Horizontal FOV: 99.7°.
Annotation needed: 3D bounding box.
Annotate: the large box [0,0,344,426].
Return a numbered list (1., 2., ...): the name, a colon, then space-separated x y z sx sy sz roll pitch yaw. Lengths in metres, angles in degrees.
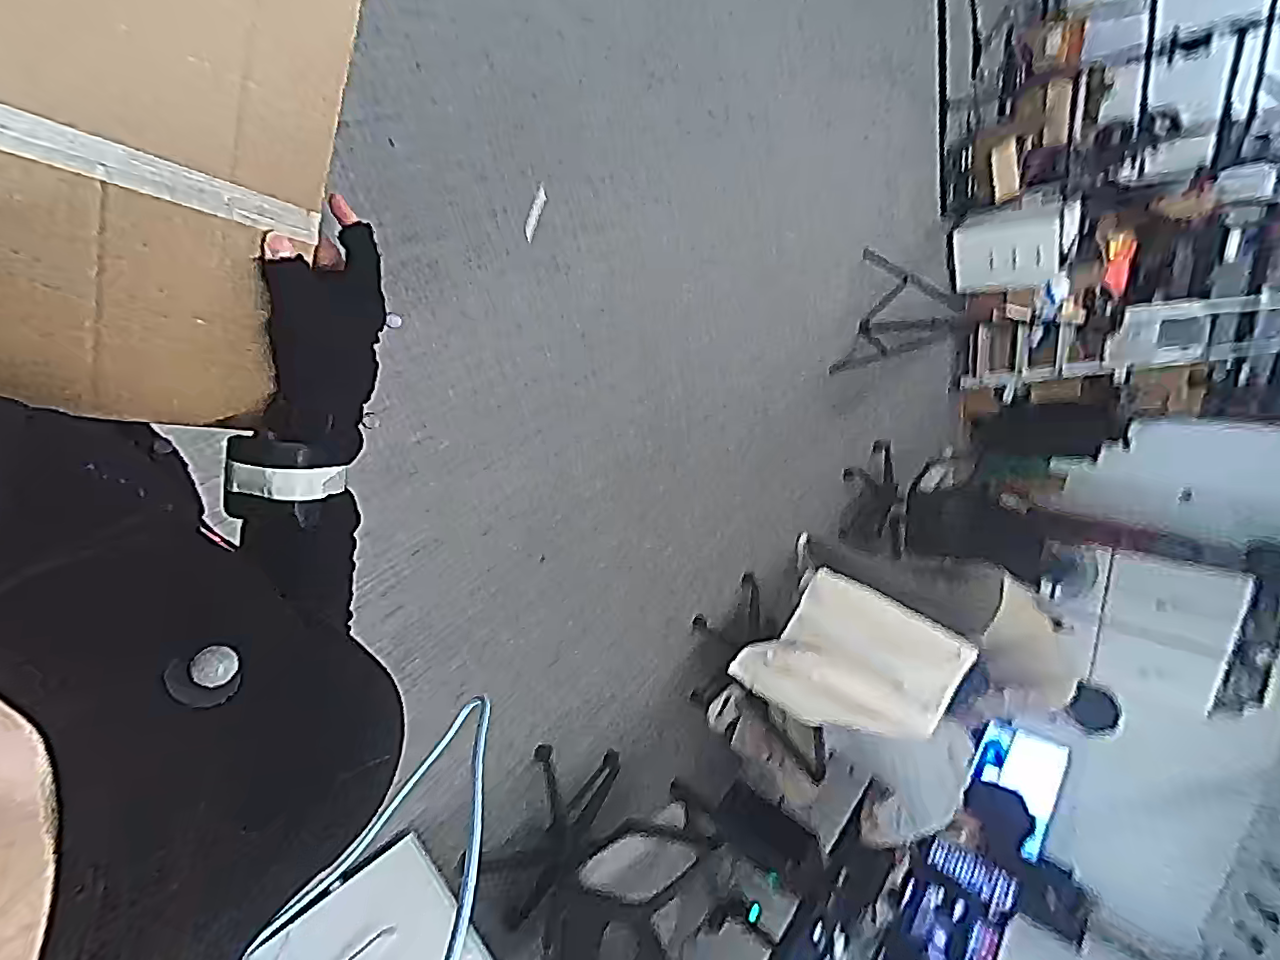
1. large box: -0.450 -0.252 0.308 0.408 0.320 0.320 1 124 -45
